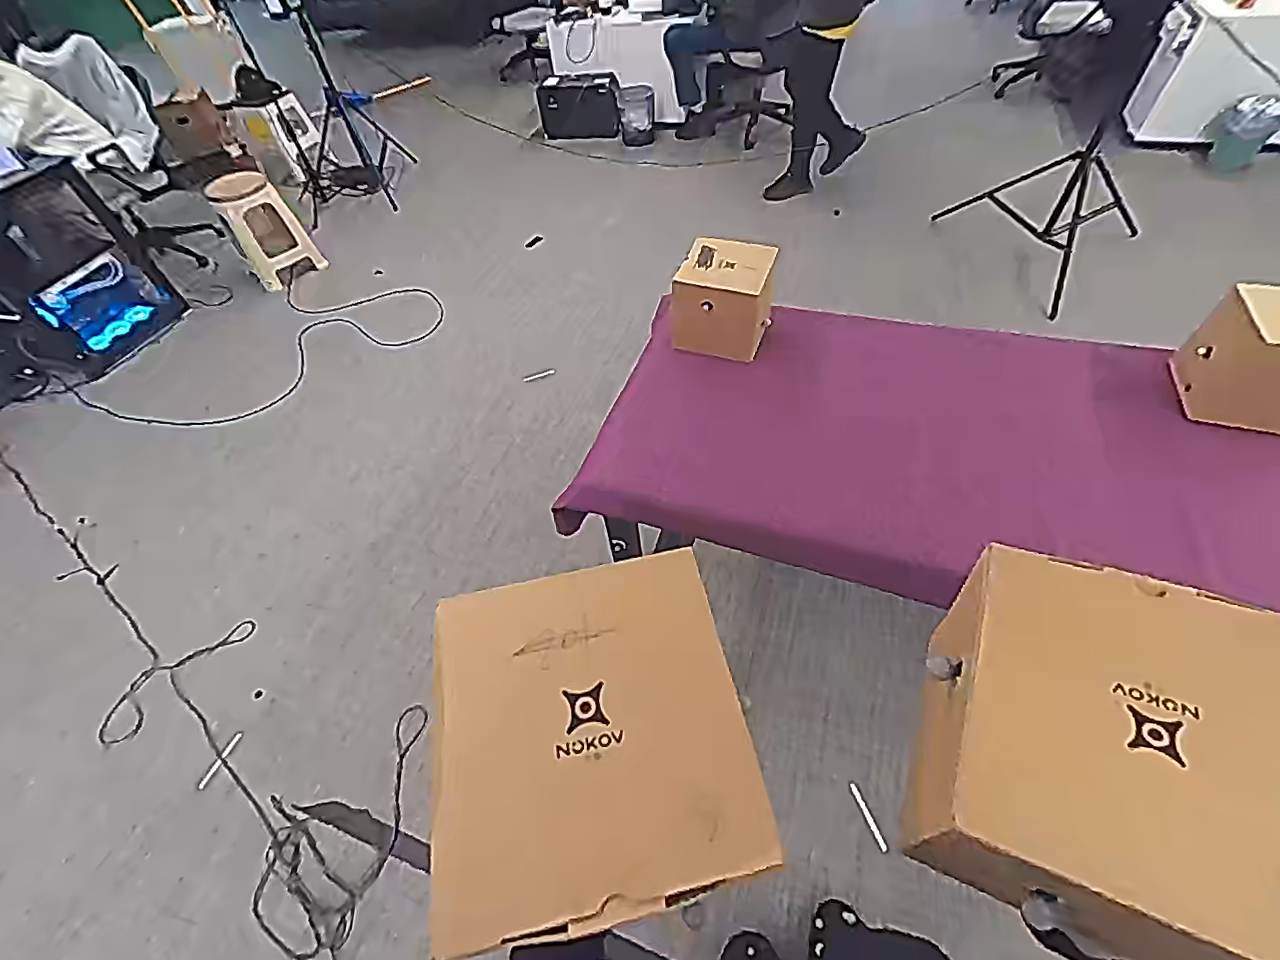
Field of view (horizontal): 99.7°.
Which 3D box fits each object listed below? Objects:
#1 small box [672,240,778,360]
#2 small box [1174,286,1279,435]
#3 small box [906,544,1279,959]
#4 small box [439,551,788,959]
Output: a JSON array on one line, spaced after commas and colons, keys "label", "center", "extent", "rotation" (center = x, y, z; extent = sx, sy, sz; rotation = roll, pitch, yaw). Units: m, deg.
[{"label": "small box", "center": [0.176, -0.374, 1.133], "extent": [0.179, 0.176, 0.168], "rotation": [16, 57, 16]}, {"label": "small box", "center": [1.052, -0.196, 0.904], "extent": [0.179, 0.176, 0.168], "rotation": [14, 55, 15]}, {"label": "small box", "center": [0.278, 0.173, 0.339], "extent": [0.168, 0.176, 0.179], "rotation": [14, 56, 24]}, {"label": "small box", "center": [-0.022, 0.176, 0.357], "extent": [0.168, 0.176, 0.179], "rotation": [-11, 53, -7]}]
